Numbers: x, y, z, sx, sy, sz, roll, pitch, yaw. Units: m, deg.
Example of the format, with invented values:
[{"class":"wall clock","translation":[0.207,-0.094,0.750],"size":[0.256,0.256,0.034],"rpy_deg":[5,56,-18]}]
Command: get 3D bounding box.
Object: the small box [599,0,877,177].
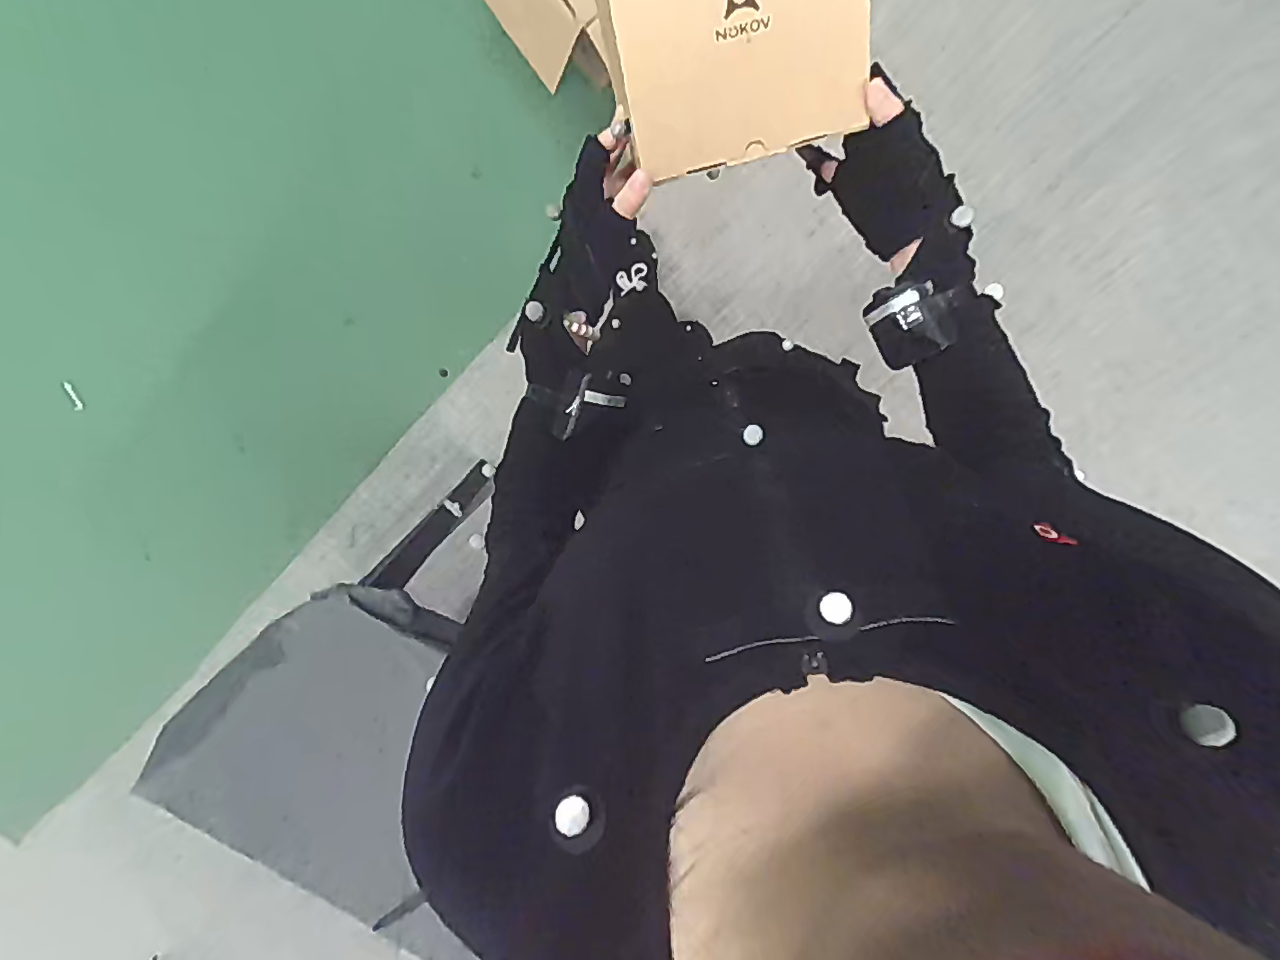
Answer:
[{"class":"small box","translation":[0.061,-0.347,0.409],"size":[0.168,0.176,0.179],"rpy_deg":[-13,122,3]}]
